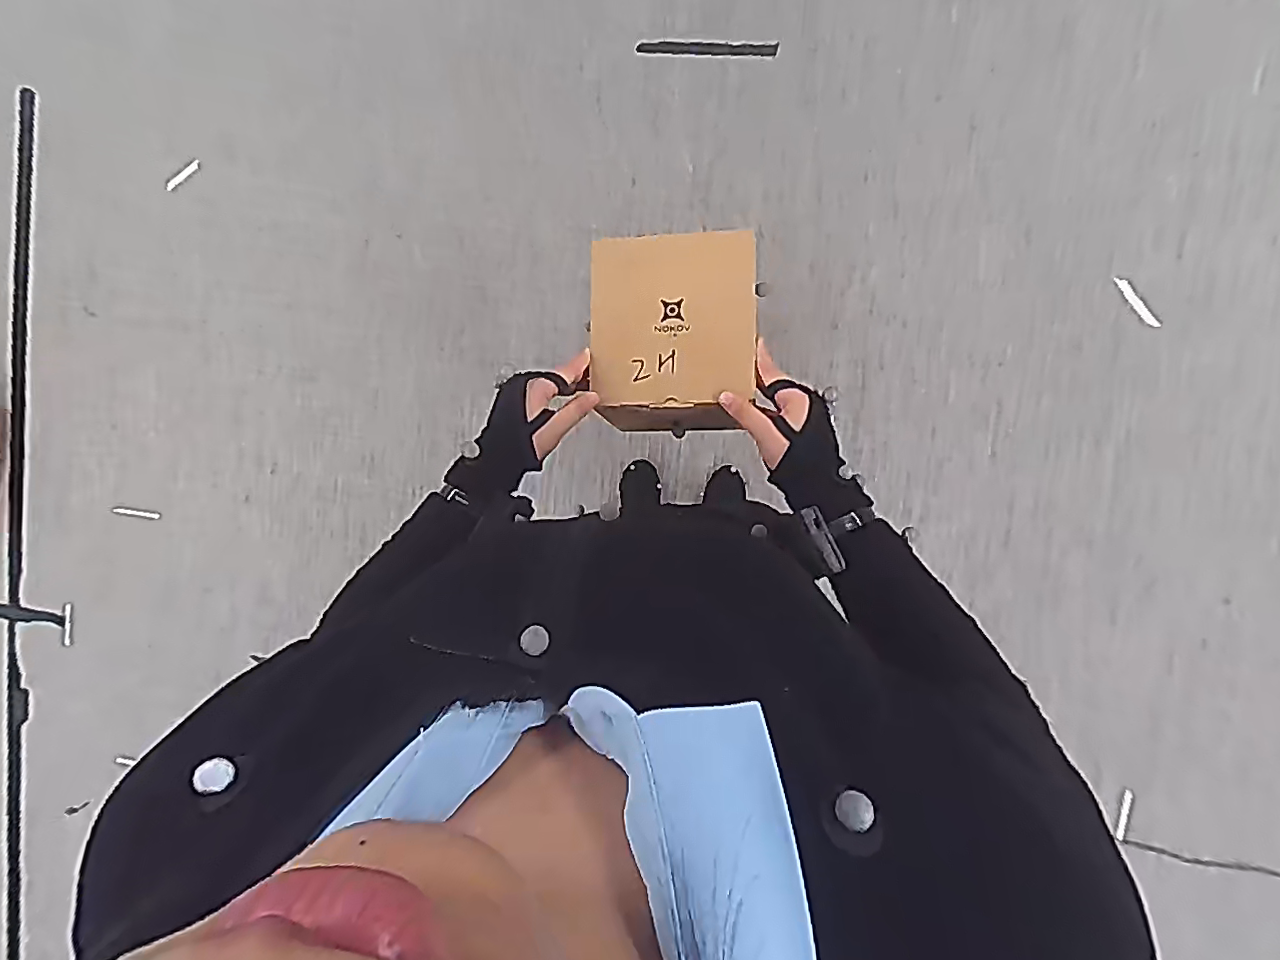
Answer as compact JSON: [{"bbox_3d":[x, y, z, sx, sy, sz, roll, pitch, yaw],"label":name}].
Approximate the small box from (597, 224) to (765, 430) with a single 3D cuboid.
[{"bbox_3d":[0.049,-0.157,0.607,0.168,0.176,0.179,-1,87,9],"label":"small box"}]
